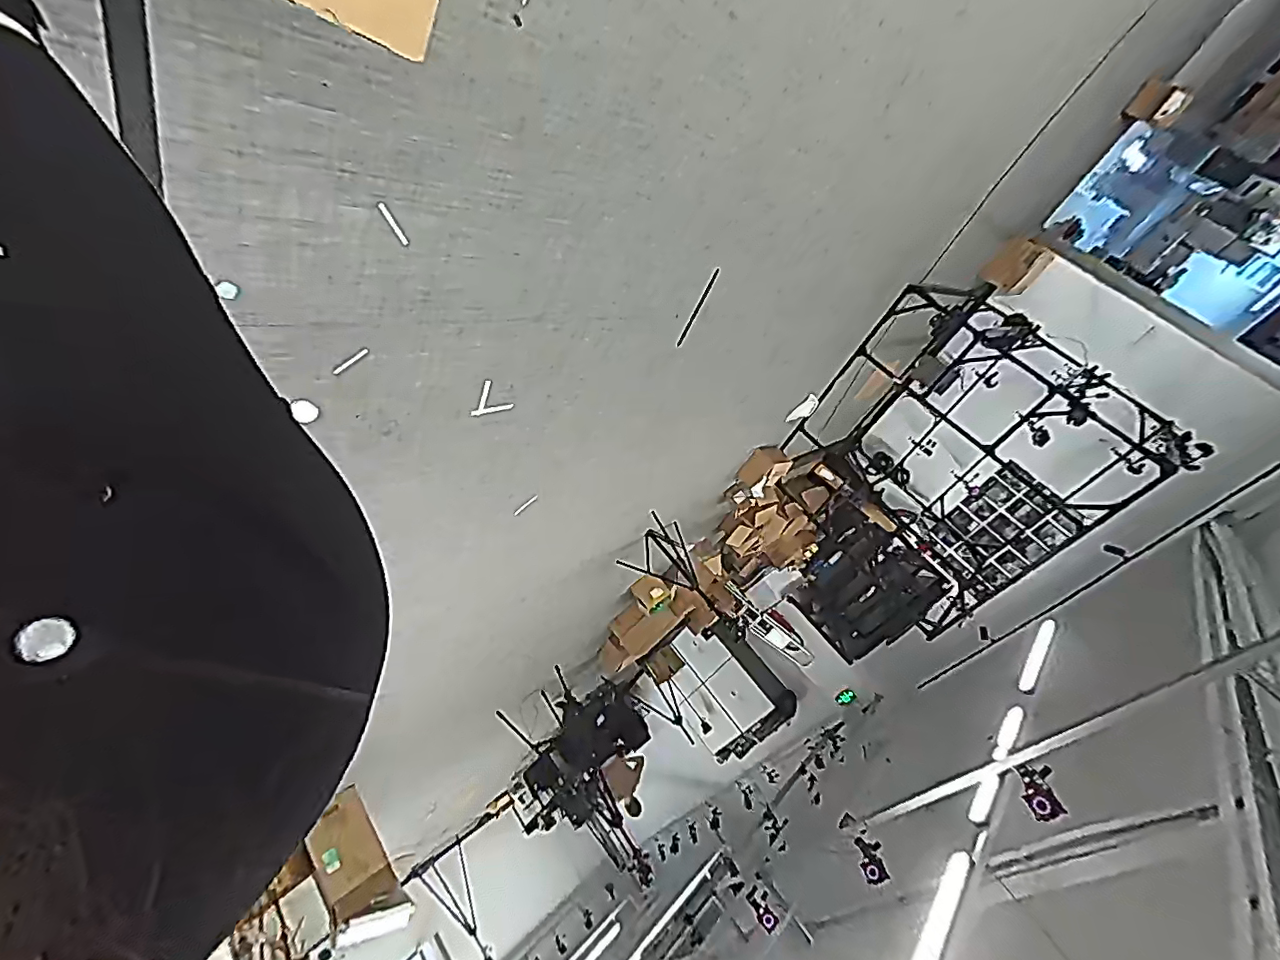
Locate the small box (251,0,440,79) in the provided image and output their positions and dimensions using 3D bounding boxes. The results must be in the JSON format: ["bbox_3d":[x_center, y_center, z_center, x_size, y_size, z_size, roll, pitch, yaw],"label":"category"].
[{"bbox_3d":[-0.267,-0.480,0.429,0.168,0.176,0.179,-13,144,-51],"label":"small box"}]
